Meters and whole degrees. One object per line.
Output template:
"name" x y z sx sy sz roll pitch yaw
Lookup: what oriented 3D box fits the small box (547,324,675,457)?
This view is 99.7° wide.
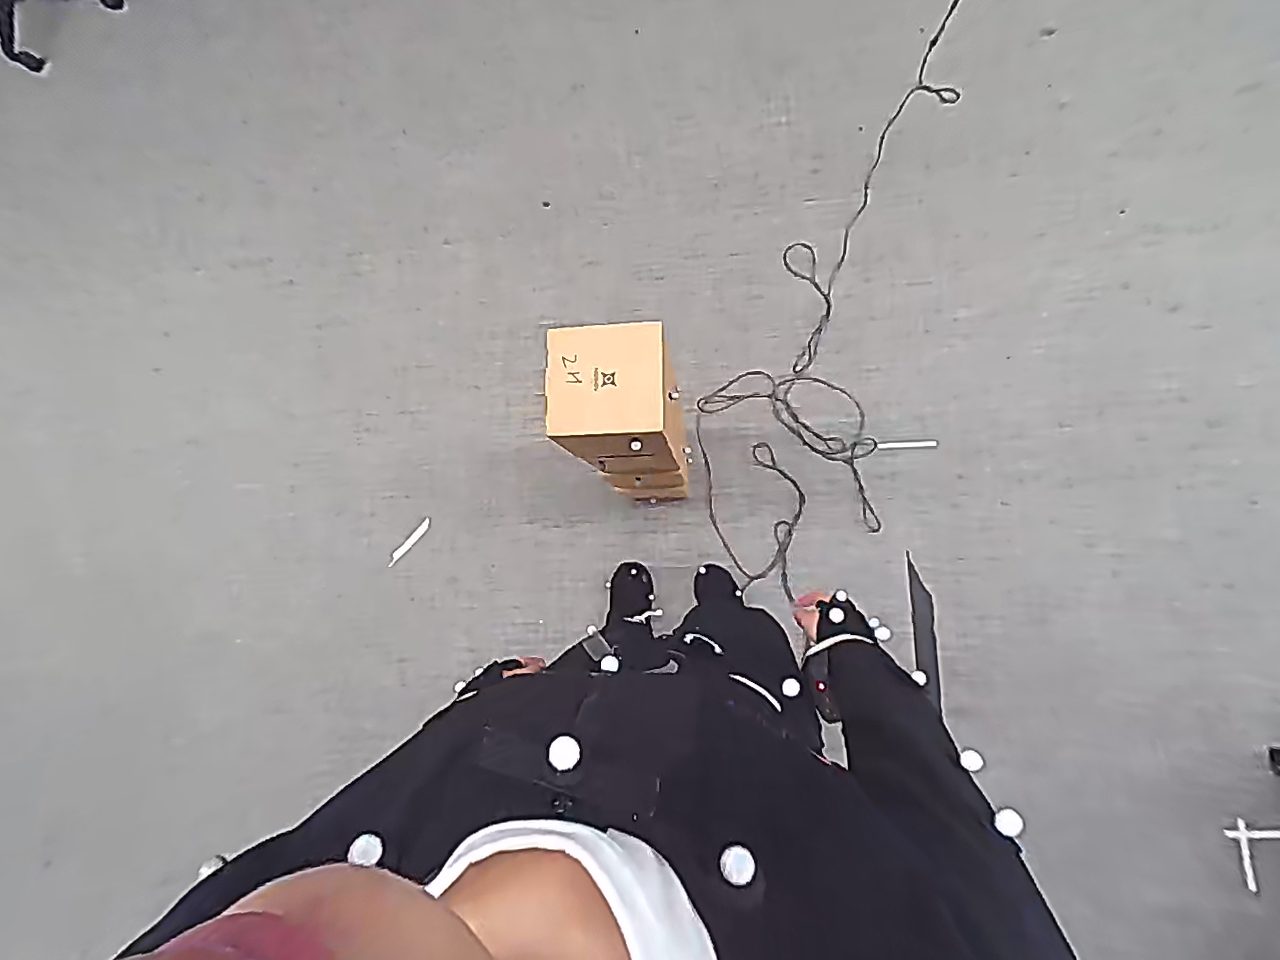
"small box" -0.037 -0.133 0.859 0.179 0.176 0.168 -1 81 9

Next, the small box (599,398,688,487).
"small box" 0.014 -0.077 1.181 0.179 0.176 0.168 -2 82 10

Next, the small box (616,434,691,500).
"small box" 0.037 -0.046 1.338 0.168 0.176 0.179 -2 83 9
